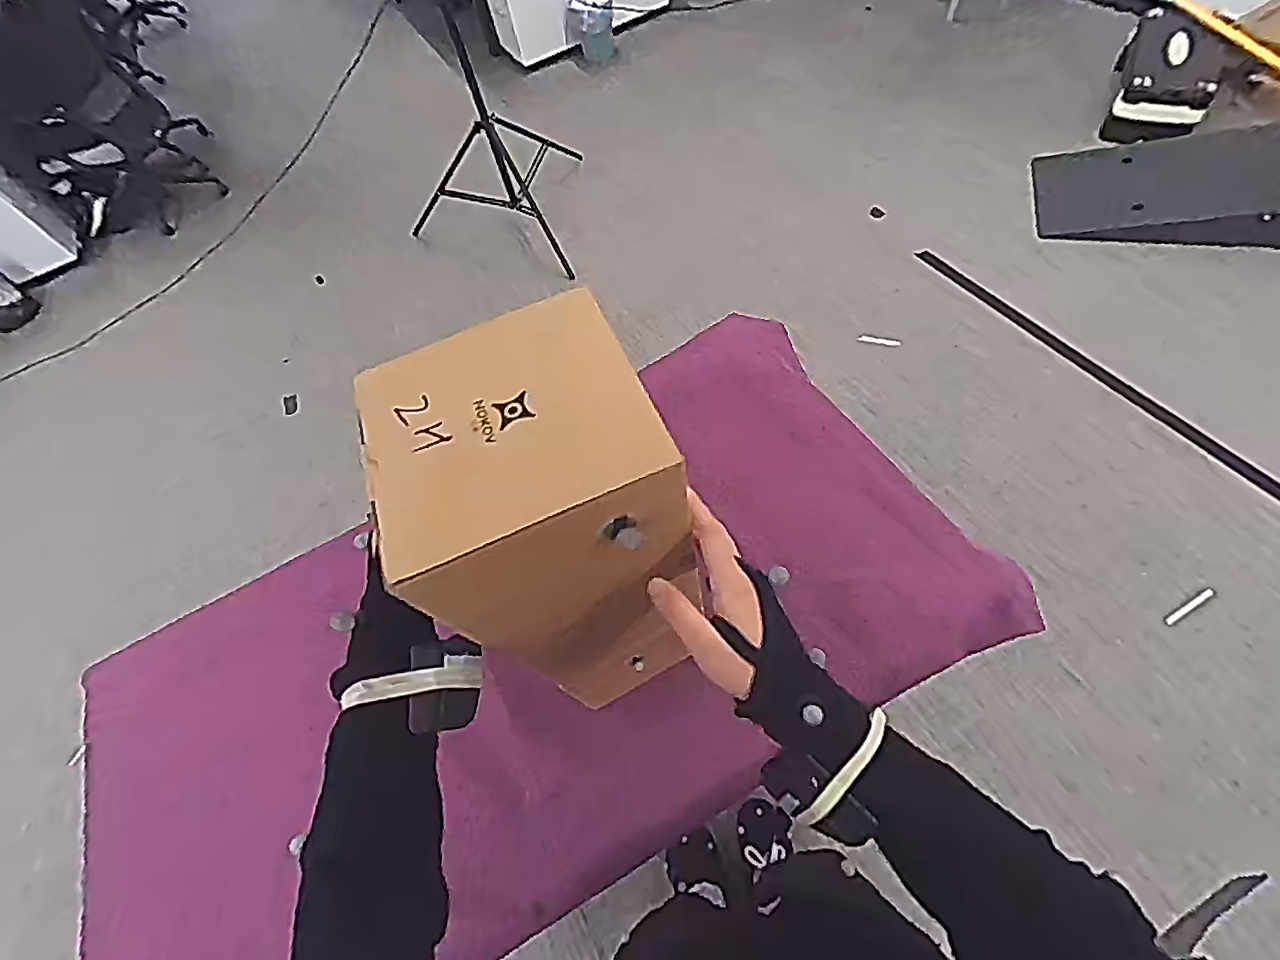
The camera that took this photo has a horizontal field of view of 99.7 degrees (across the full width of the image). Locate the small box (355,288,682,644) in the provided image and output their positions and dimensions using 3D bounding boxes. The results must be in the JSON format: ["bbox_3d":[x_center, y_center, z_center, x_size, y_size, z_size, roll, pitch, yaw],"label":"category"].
[{"bbox_3d":[-0.075,-0.001,0.401,0.179,0.176,0.168,-22,59,-3],"label":"small box"}]

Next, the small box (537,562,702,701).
[{"bbox_3d":[-0.034,0.158,0.687,0.179,0.176,0.168,-28,60,-7],"label":"small box"}]
